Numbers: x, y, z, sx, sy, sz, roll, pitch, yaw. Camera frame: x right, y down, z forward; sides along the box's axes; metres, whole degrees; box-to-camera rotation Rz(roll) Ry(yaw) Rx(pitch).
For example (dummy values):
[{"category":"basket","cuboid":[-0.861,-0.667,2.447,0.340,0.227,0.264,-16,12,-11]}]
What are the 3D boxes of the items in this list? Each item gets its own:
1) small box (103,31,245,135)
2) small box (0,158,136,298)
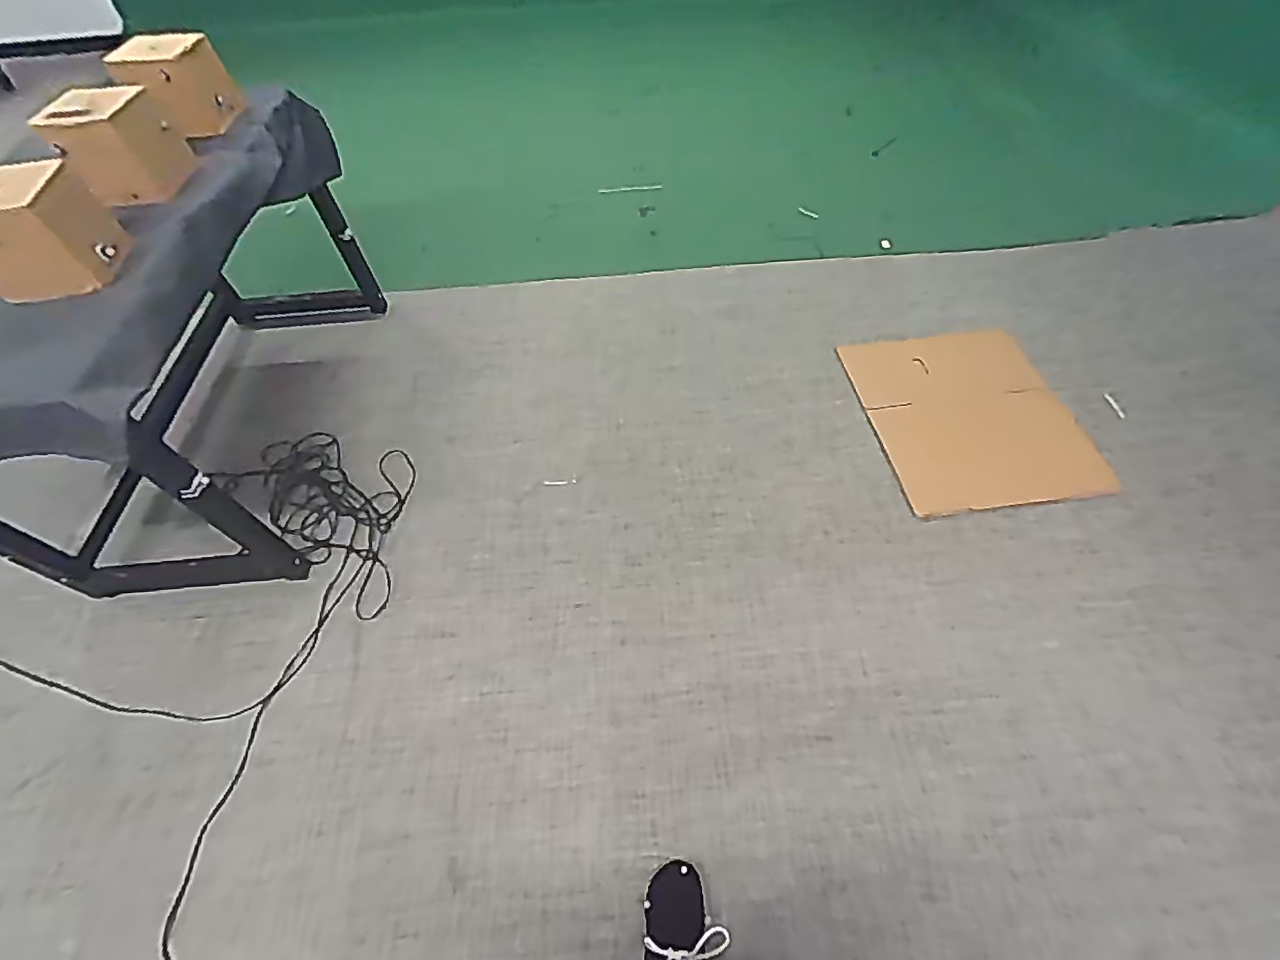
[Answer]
[{"category":"small box","cuboid":[-1.154,-0.991,1.357,0.179,0.176,0.168,-2,56,2]},{"category":"small box","cuboid":[-1.101,-0.455,0.991,0.179,0.176,0.168,-11,57,-5]}]
